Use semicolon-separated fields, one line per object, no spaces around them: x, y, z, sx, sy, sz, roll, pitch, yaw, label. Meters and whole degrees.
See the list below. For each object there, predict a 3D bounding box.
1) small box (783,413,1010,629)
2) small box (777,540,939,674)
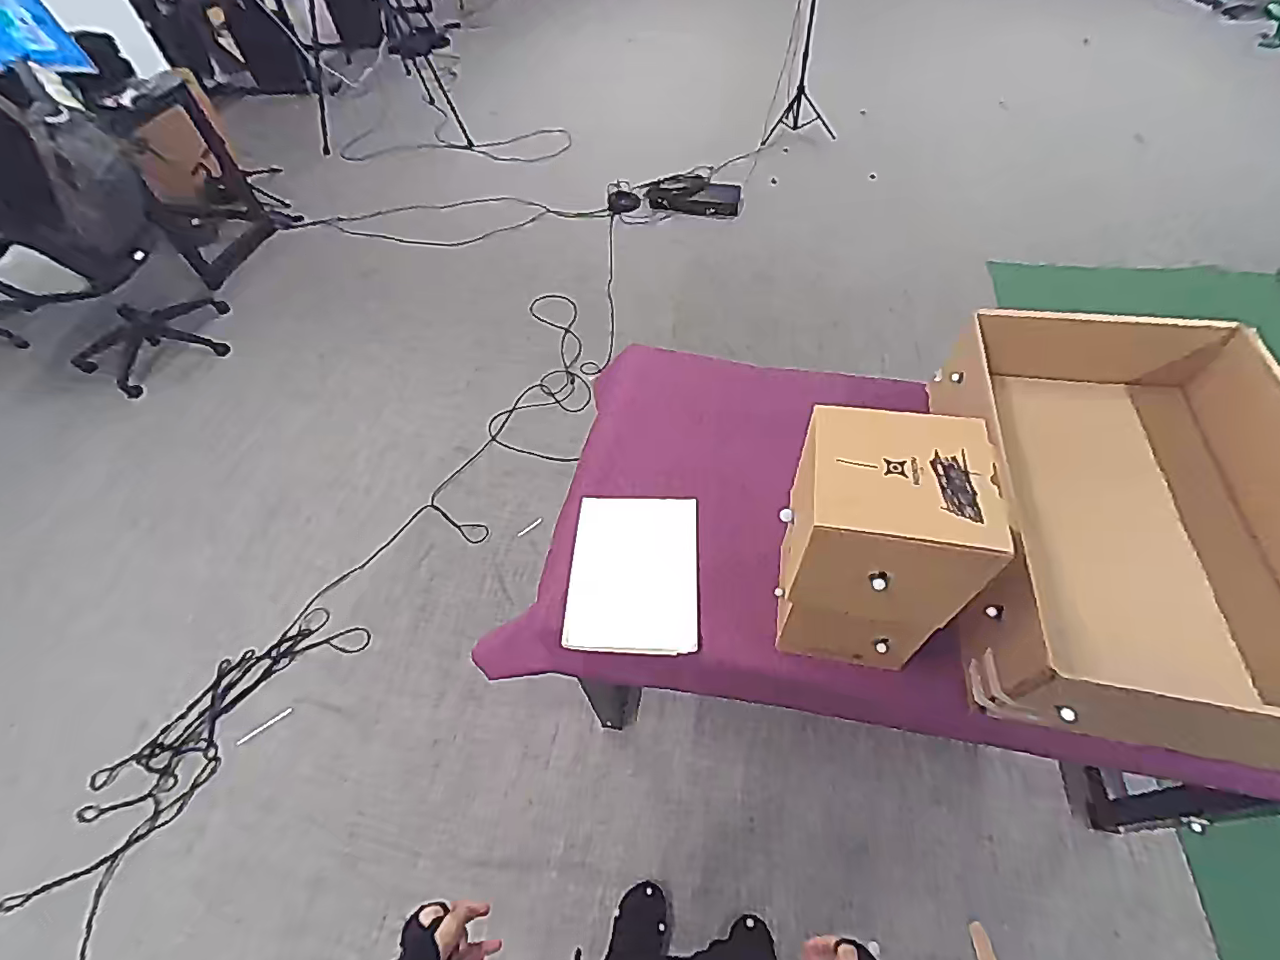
0.265;0.050;0.602;0.179;0.176;0.168;8;52;10;small box
0.283;0.144;0.735;0.168;0.176;0.179;8;52;10;small box
